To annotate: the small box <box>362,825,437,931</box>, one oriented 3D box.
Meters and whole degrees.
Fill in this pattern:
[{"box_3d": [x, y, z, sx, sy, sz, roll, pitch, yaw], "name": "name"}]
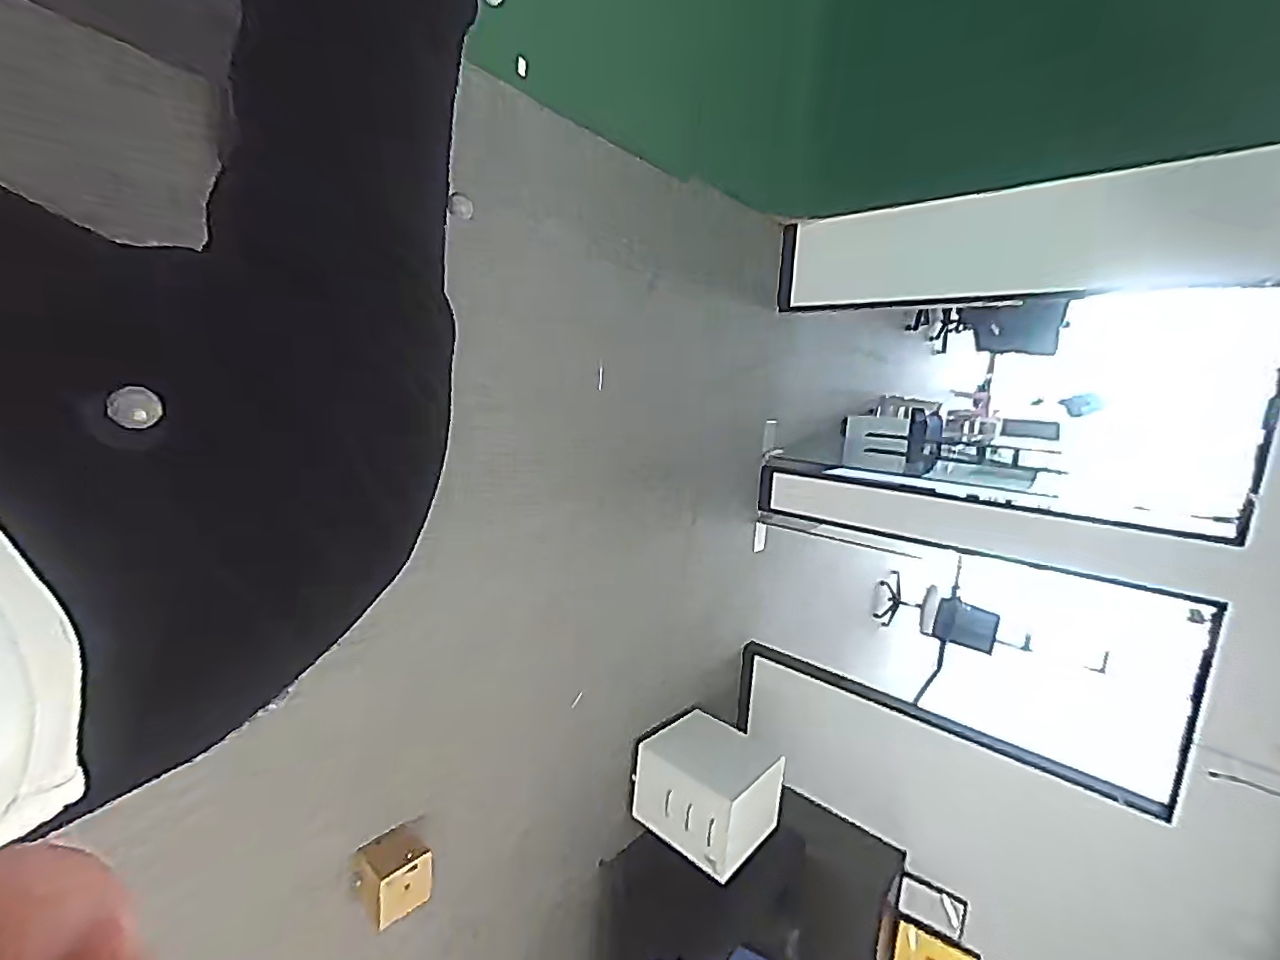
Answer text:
[{"box_3d": [-0.773, 1.266, 1.735, 0.168, 0.176, 0.179, -6, 103, -50], "name": "small box"}]
